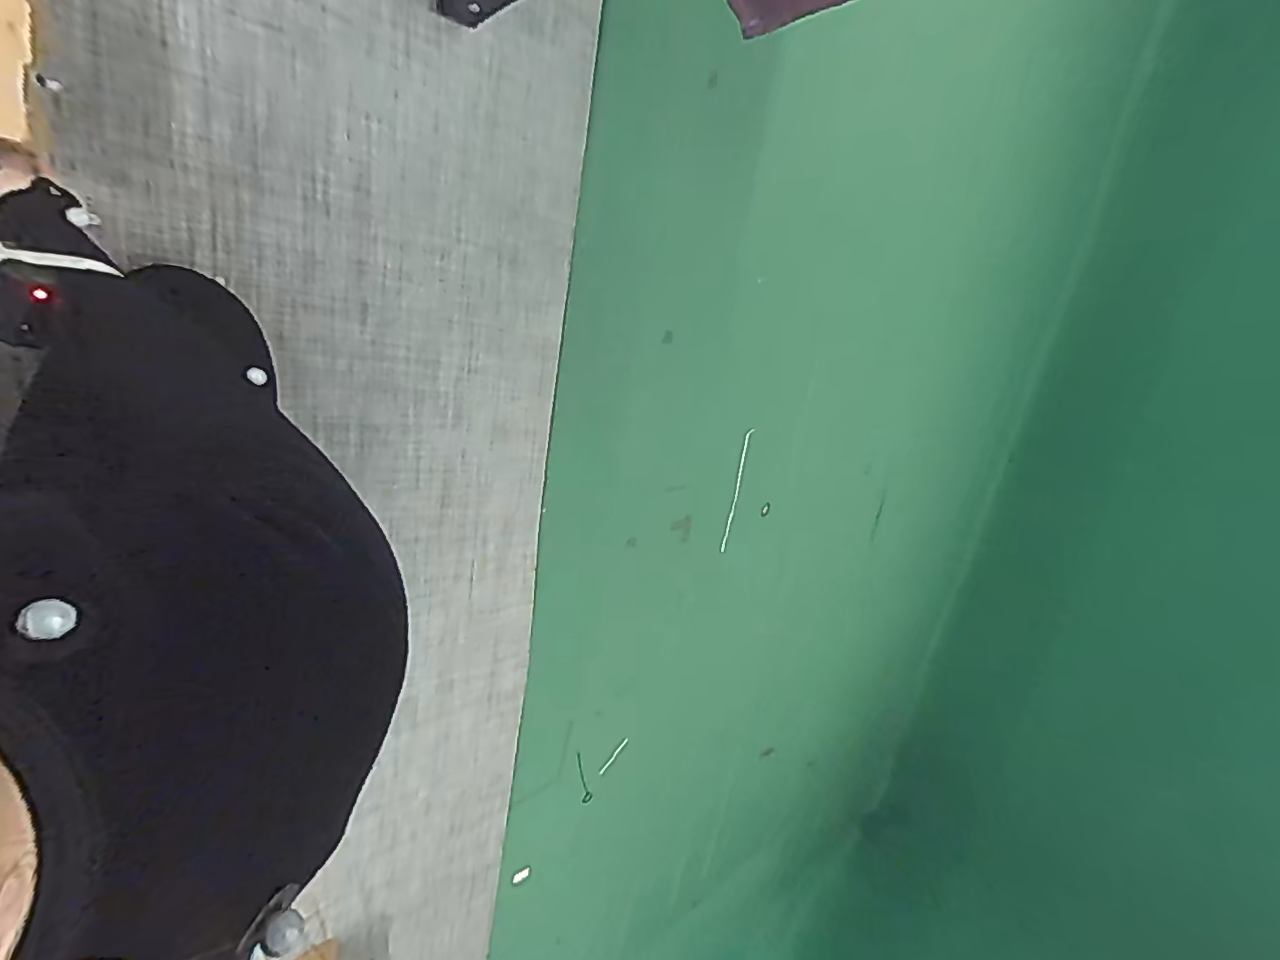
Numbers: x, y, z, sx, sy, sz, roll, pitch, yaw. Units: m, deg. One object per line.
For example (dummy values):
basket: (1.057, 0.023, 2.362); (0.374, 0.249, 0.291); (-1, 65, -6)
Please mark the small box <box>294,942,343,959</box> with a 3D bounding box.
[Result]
small box: (-0.647, 1.044, 1.029); (0.168, 0.176, 0.179); (-7, 114, -40)
